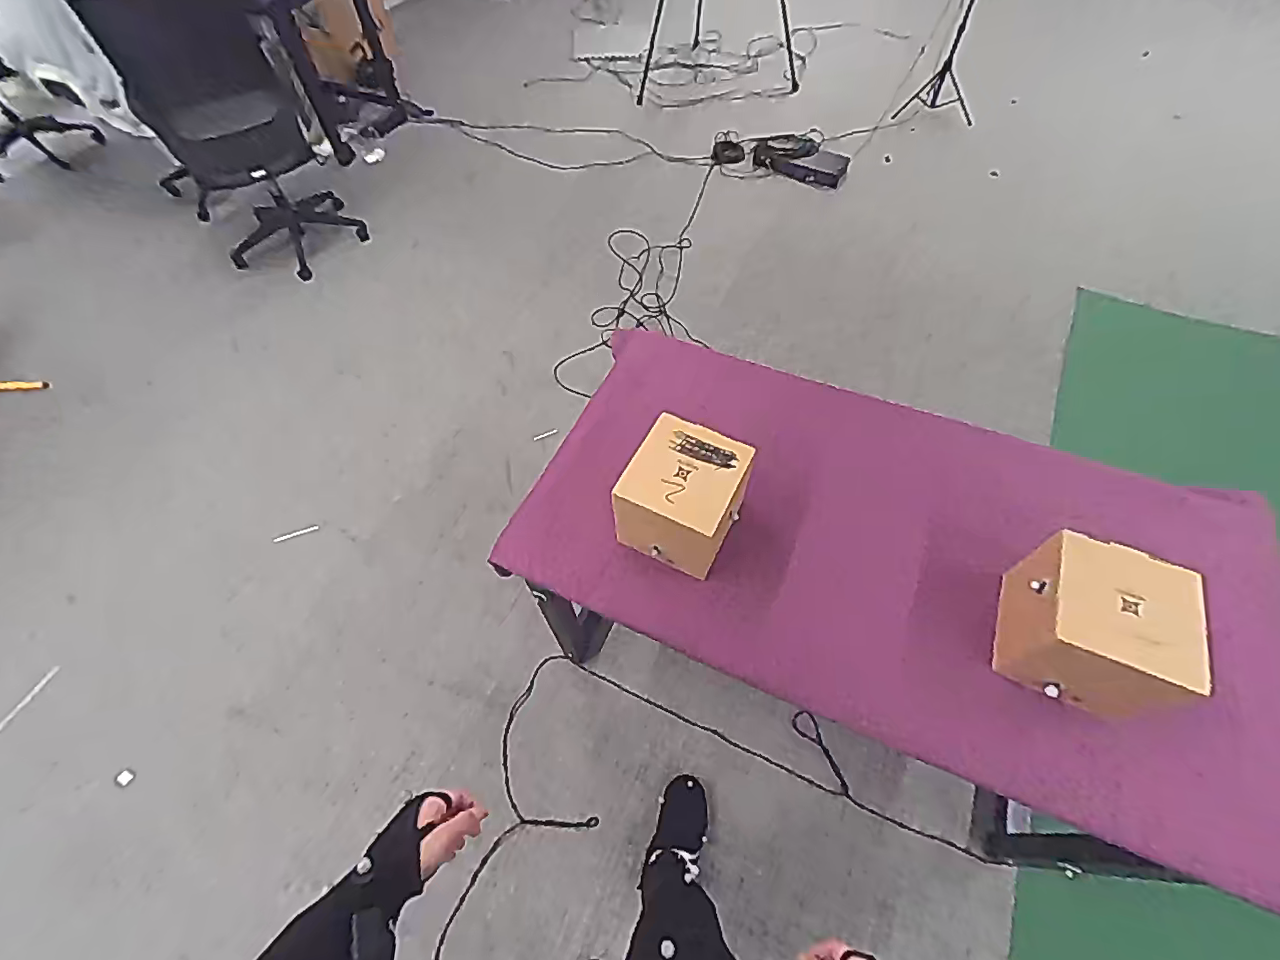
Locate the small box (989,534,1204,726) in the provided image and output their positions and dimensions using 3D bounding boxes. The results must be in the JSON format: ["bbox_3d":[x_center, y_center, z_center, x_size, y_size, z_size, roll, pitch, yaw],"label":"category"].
[{"bbox_3d":[0.622,0.213,0.757,0.168,0.176,0.179,22,60,17],"label":"small box"}]
